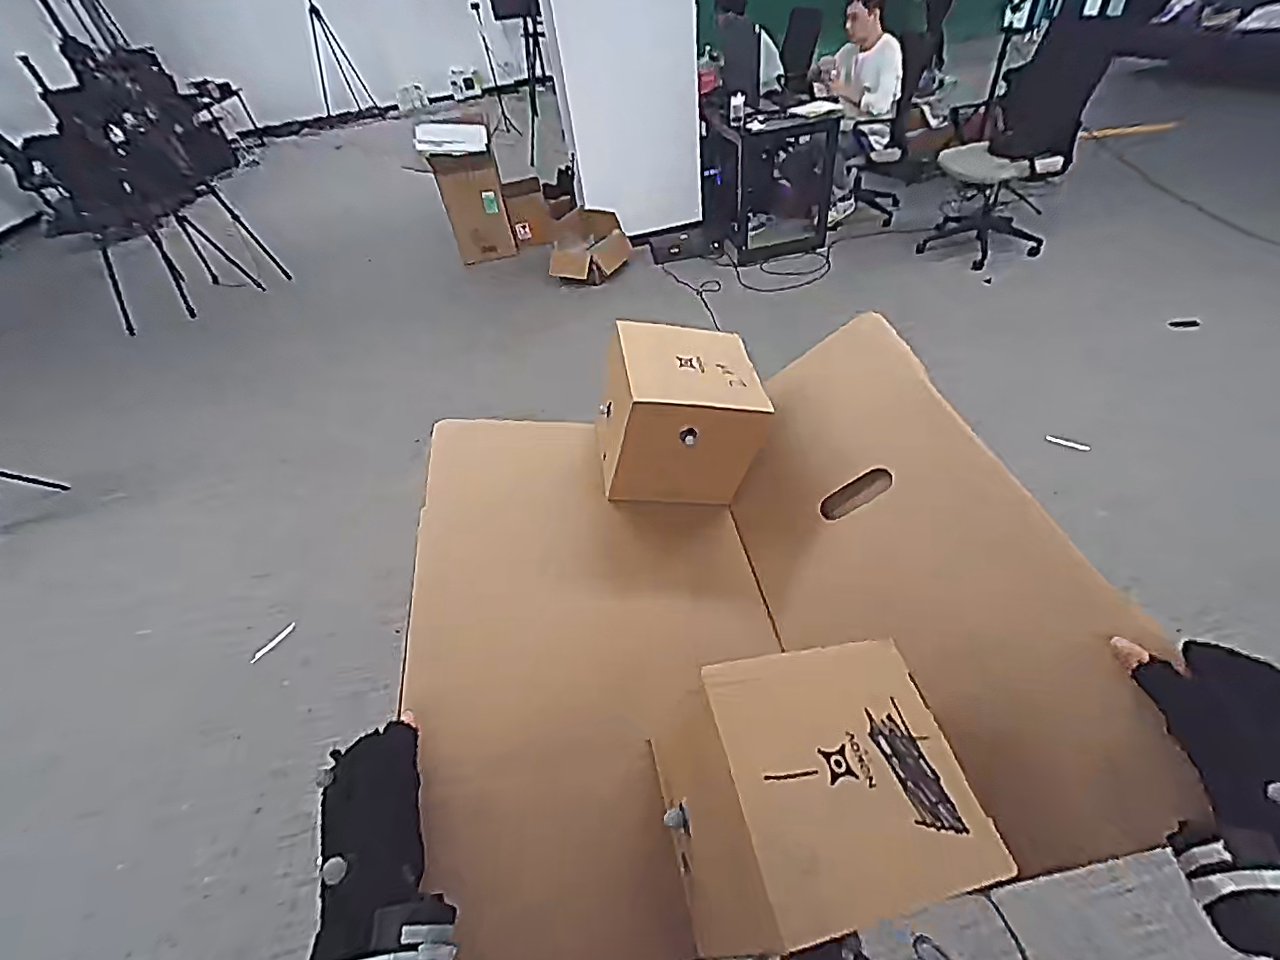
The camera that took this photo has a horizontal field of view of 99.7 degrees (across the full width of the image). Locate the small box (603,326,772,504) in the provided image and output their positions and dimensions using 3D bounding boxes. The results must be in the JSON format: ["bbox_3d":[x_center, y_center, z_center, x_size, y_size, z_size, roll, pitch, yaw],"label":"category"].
[{"bbox_3d":[0.047,-0.082,0.727,0.179,0.176,0.168,3,47,-14],"label":"small box"}]
